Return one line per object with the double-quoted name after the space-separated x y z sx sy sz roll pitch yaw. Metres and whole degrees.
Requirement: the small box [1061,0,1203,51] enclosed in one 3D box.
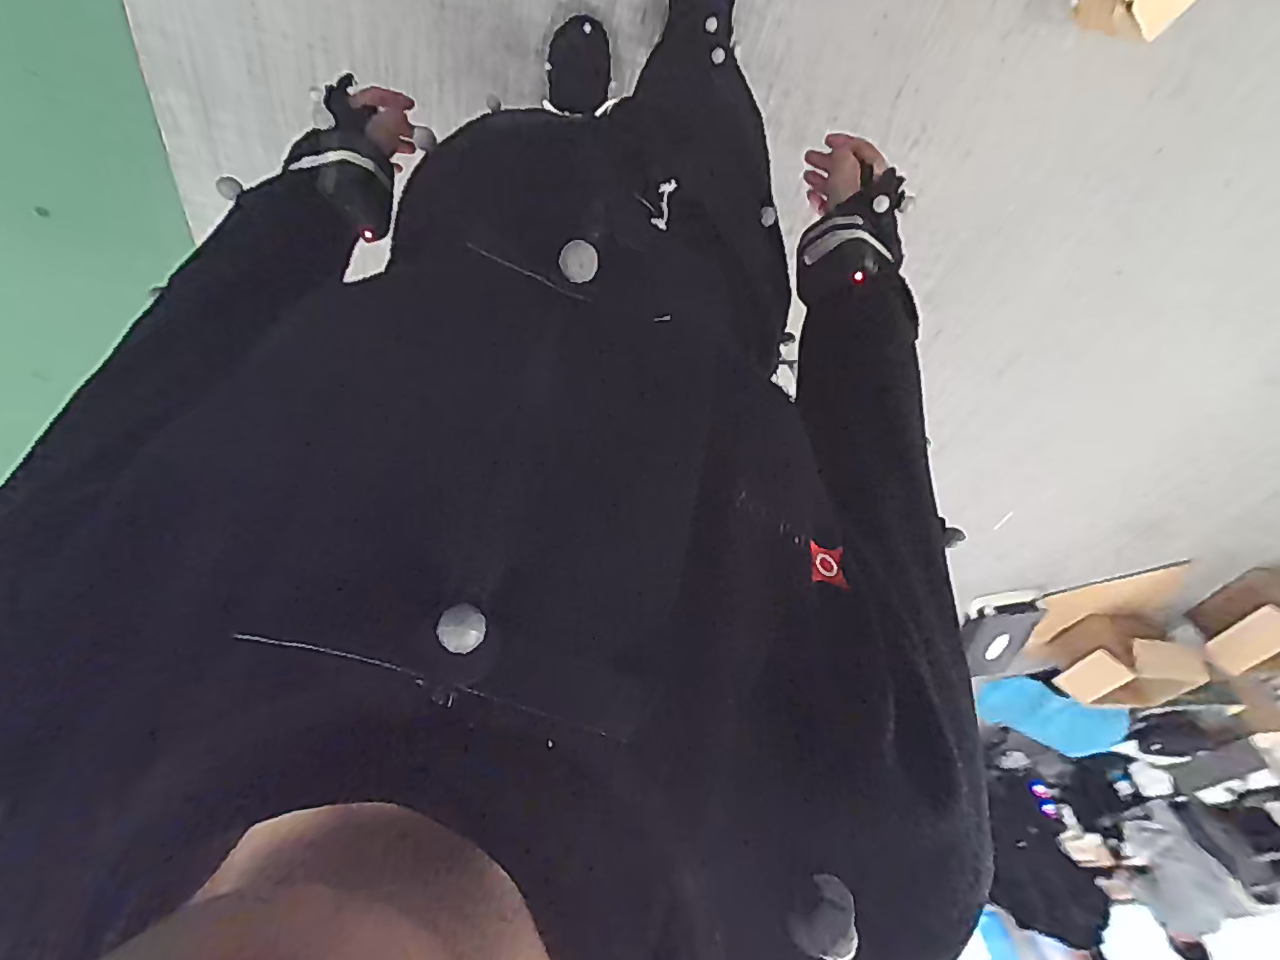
0.804 -0.836 0.851 0.168 0.176 0.179 24 129 -27 "small box"
